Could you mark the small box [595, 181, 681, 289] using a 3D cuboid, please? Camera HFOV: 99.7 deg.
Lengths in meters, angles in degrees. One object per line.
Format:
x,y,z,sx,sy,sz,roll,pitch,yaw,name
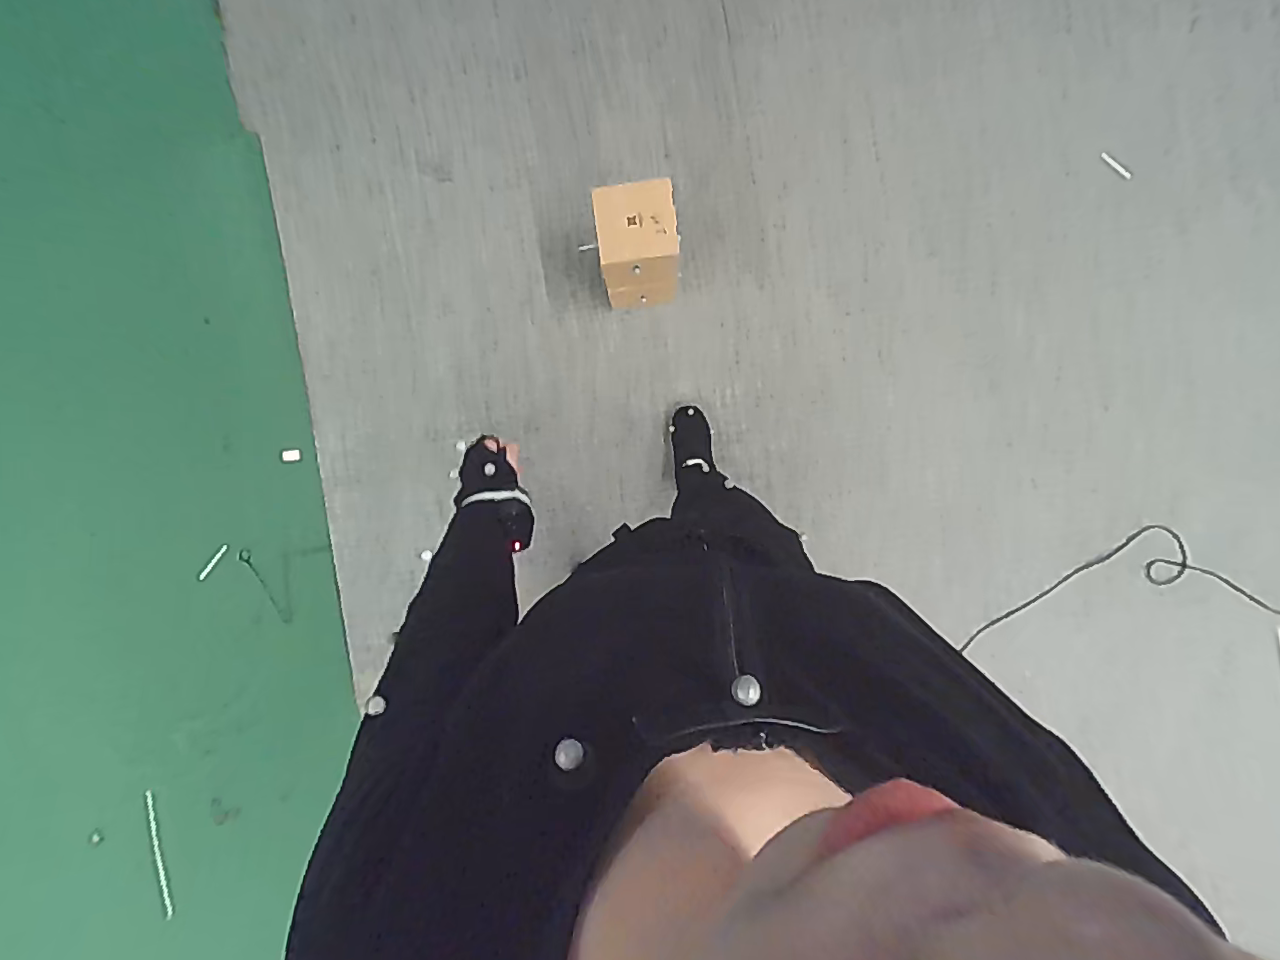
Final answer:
0.000,-0.554,1.245,0.179,0.176,0.168,-7,91,2,small box
